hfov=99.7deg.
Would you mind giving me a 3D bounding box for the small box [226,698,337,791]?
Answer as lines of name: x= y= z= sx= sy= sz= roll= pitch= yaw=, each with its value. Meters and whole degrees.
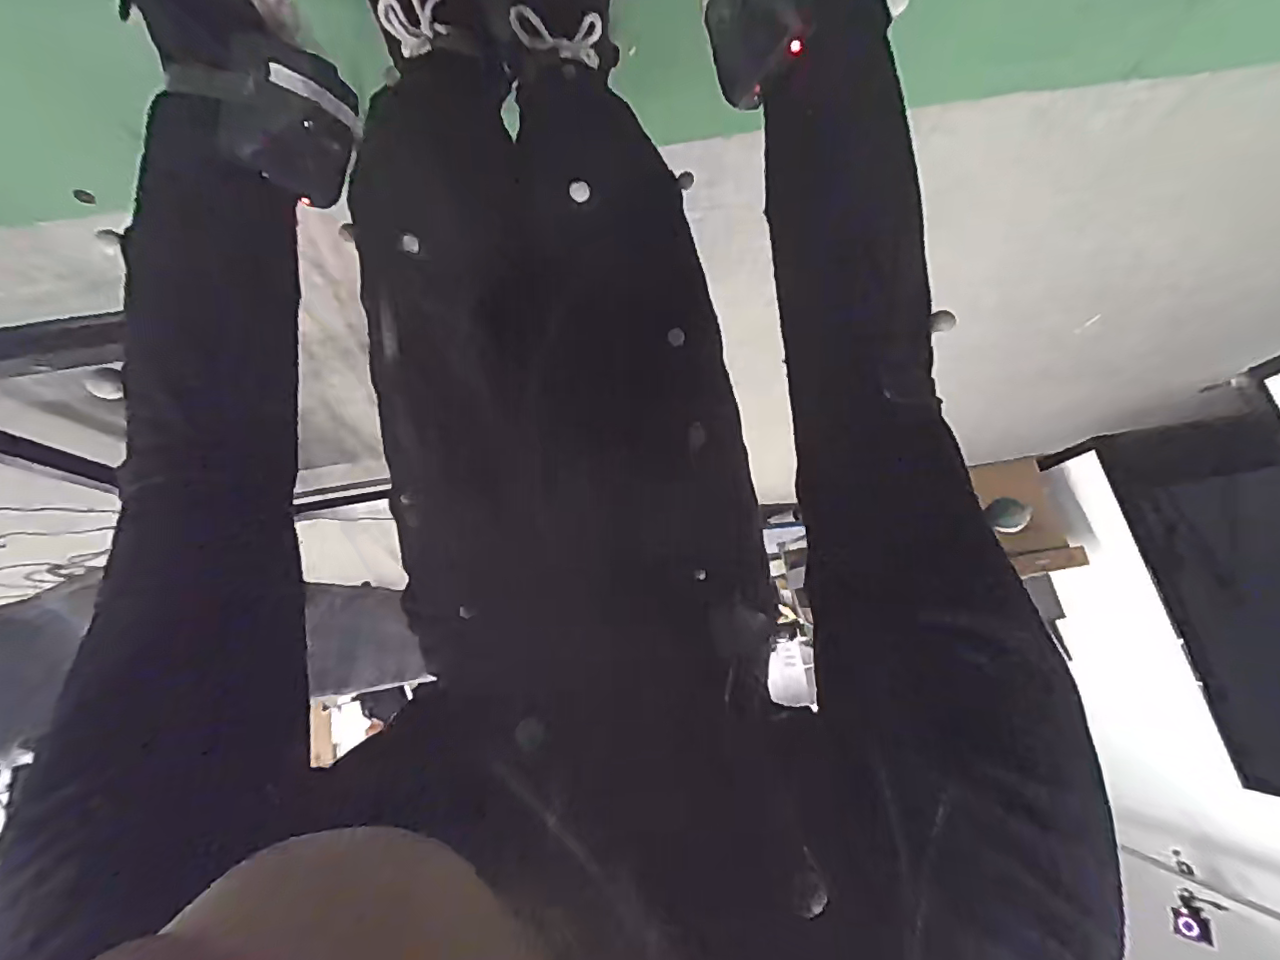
small box: x=-0.881 y=0.643 z=1.339 sx=0.179 sy=0.176 sz=0.168 roll=-9 pitch=163 yaw=-2
